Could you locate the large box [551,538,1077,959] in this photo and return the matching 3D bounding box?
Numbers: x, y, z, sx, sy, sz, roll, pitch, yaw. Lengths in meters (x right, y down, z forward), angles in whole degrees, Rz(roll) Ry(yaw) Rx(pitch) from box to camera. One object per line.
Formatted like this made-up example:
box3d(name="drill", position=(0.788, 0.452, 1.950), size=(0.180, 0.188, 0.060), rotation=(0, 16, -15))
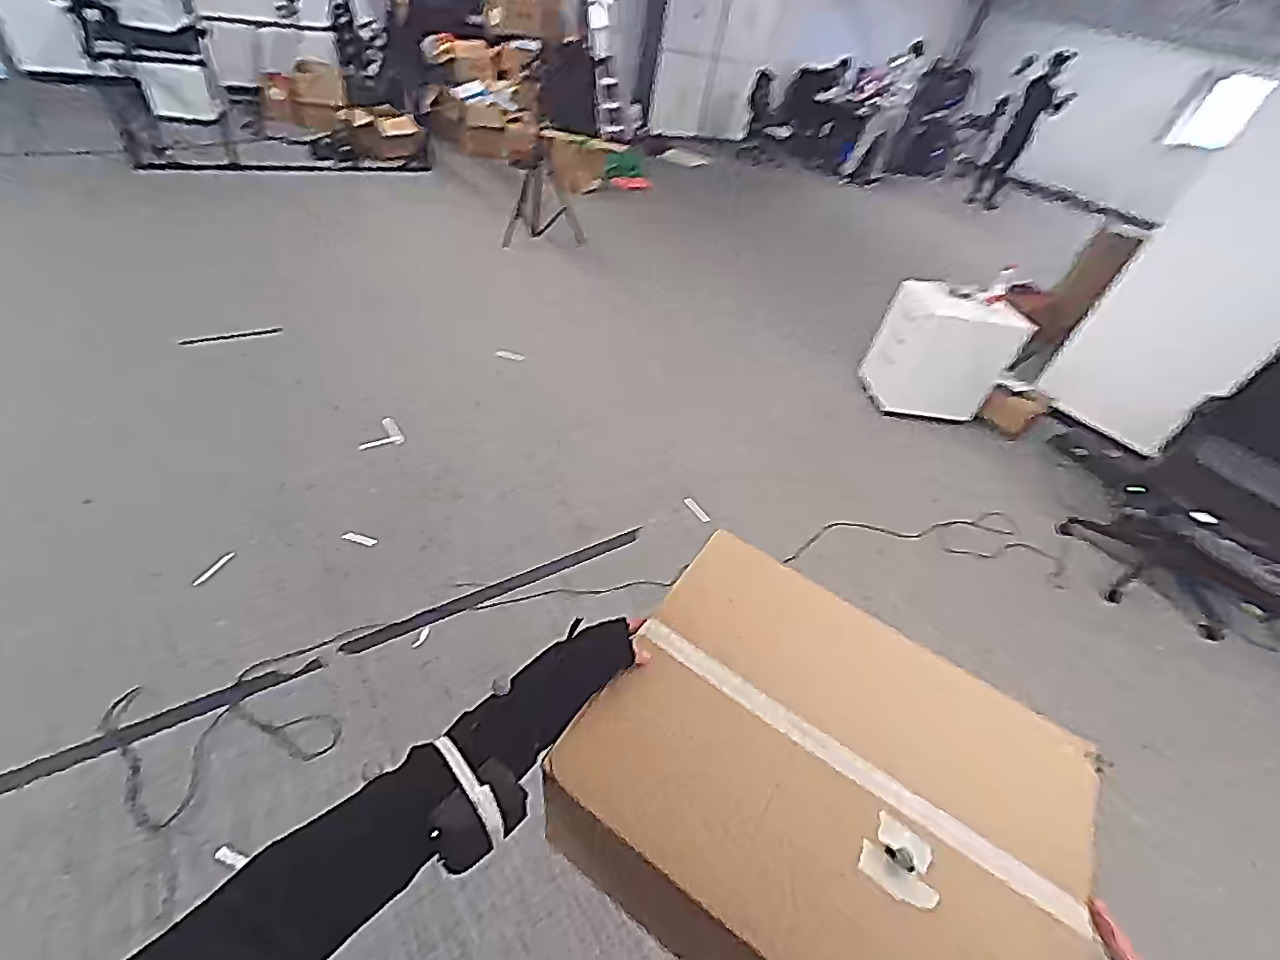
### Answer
box3d(name="large box", position=(0.152, 0.343, 0.591), size=(0.408, 0.320, 0.320), rotation=(31, 51, 17))
